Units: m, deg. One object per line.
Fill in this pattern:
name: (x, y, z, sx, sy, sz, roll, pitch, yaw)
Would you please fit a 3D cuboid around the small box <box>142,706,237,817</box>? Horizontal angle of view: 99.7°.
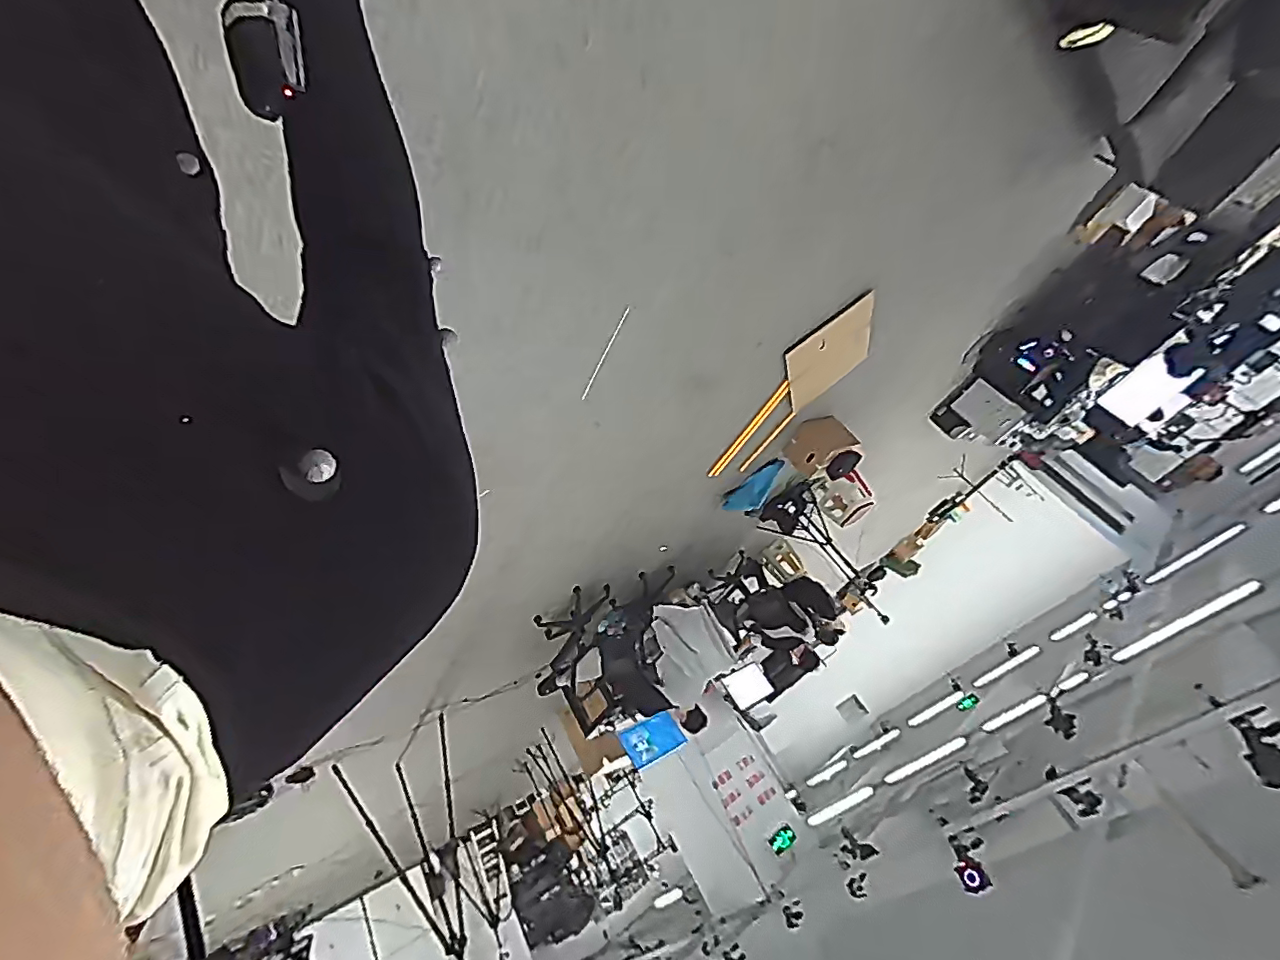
small box: (-1.140, 0.708, 1.373, 0.168, 0.176, 0.179, -10, 143, -41)
